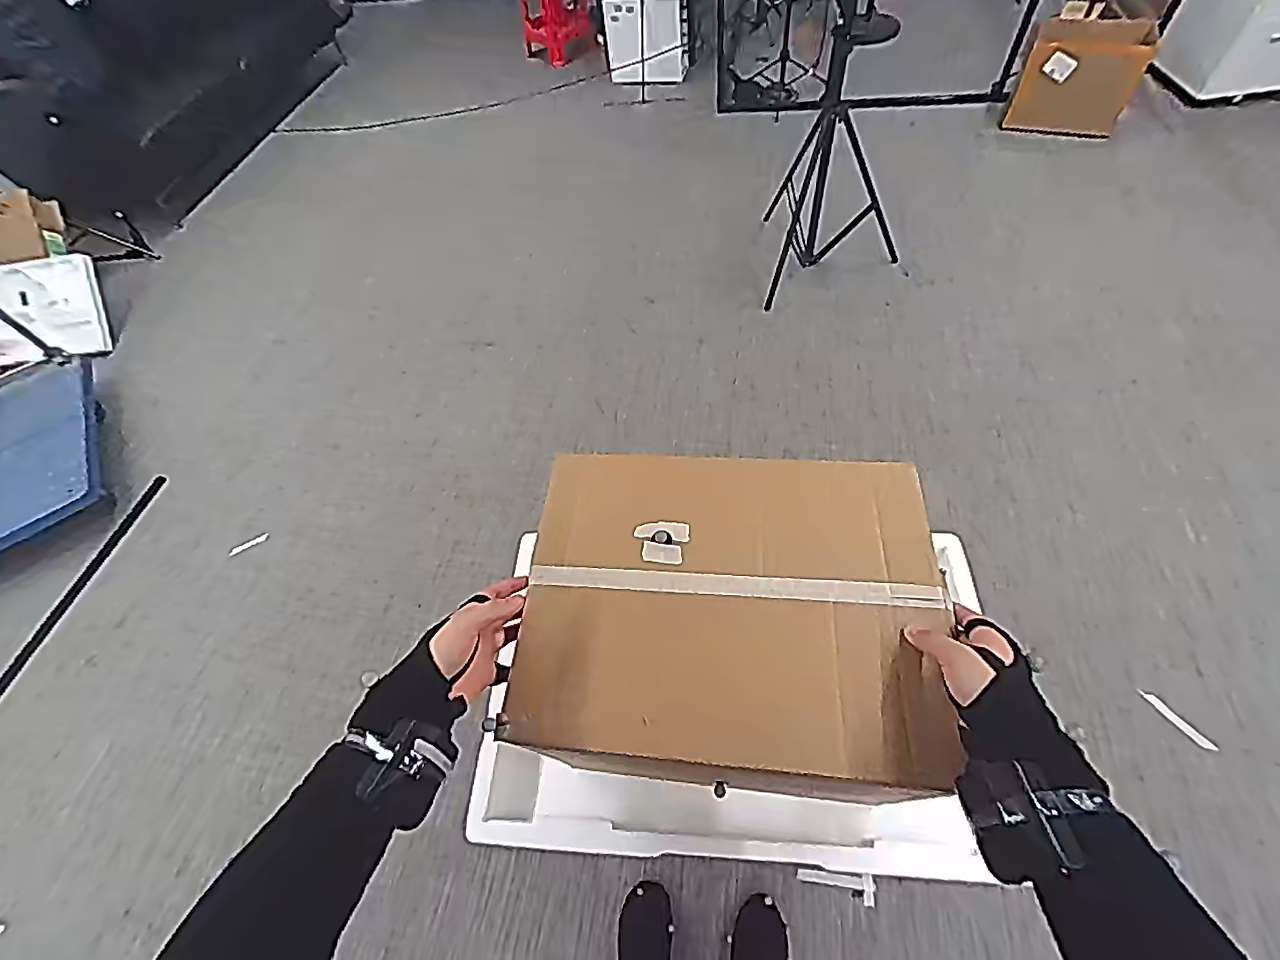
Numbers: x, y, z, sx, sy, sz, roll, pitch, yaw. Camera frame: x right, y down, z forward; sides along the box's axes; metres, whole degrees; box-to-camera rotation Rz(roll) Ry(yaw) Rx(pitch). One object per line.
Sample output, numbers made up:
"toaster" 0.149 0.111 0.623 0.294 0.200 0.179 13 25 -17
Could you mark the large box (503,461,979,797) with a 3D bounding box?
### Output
"large box" 0.105 0.189 0.655 0.408 0.320 0.320 0 57 9
